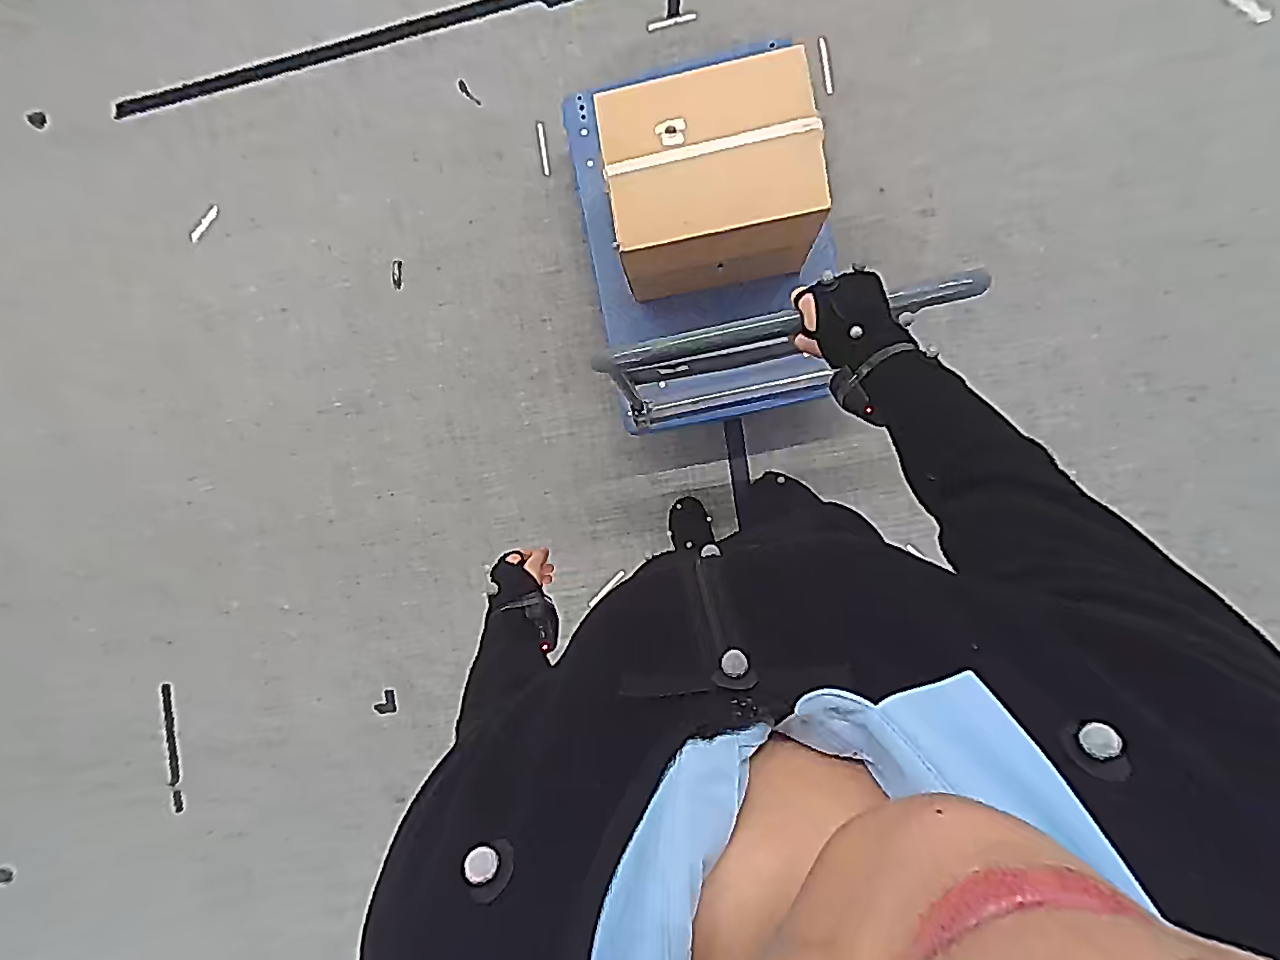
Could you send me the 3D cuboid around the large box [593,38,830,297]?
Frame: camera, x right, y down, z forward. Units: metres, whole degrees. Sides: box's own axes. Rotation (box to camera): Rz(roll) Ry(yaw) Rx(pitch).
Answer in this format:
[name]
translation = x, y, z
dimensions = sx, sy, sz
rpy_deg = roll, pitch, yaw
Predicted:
[large box]
translation = 0.147, -0.624, 1.153
dimensions = 0.408, 0.320, 0.320
rpy_deg = -10, 88, 7
